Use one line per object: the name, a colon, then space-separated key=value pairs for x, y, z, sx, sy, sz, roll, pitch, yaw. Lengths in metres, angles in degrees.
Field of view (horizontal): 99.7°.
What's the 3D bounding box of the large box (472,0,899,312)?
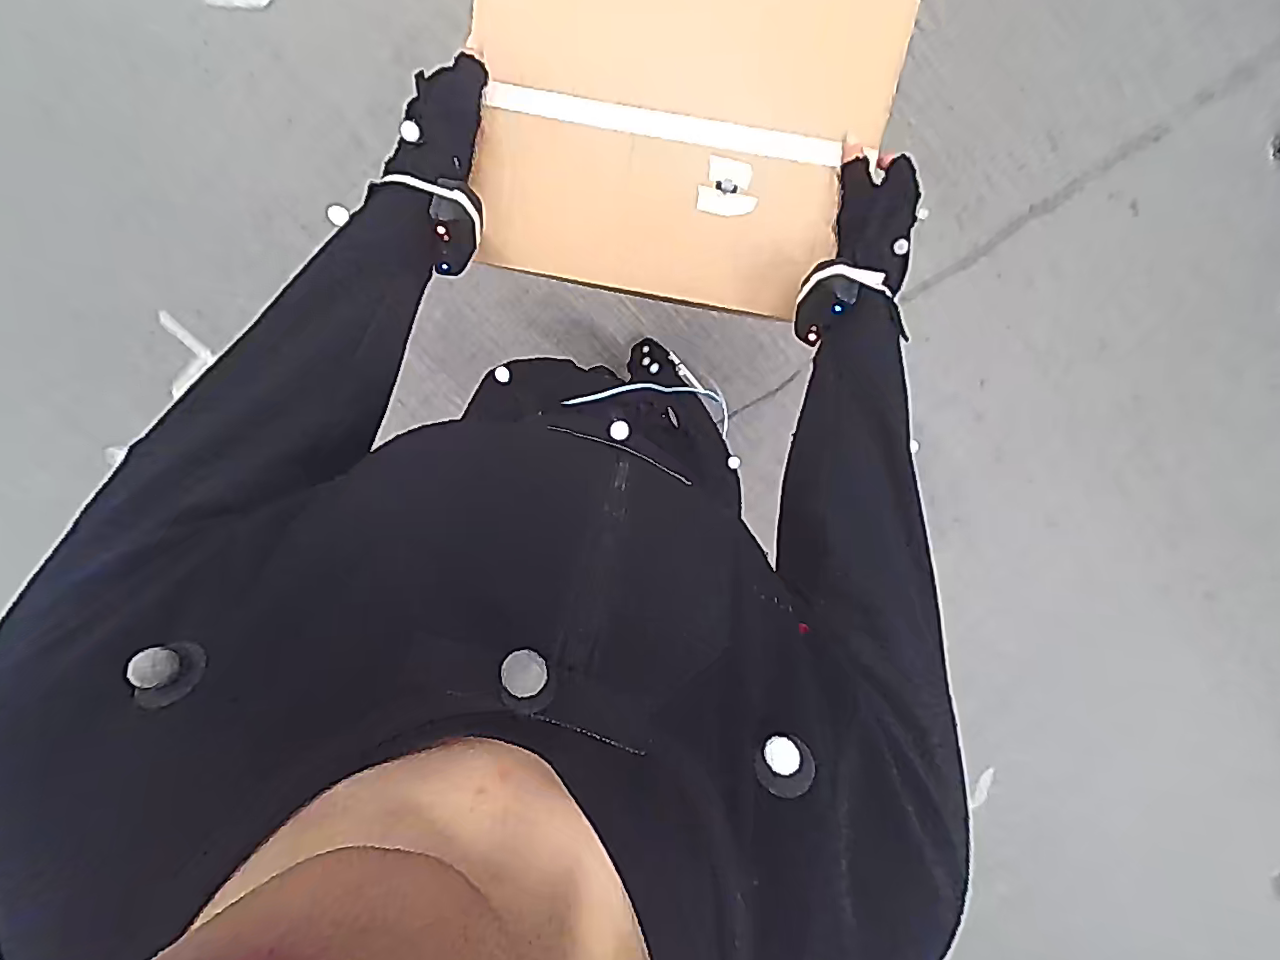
large box: x=0.034 y=-0.401 z=0.691 sx=0.408 sy=0.320 sz=0.320 roll=9 pitch=109 yaw=0
